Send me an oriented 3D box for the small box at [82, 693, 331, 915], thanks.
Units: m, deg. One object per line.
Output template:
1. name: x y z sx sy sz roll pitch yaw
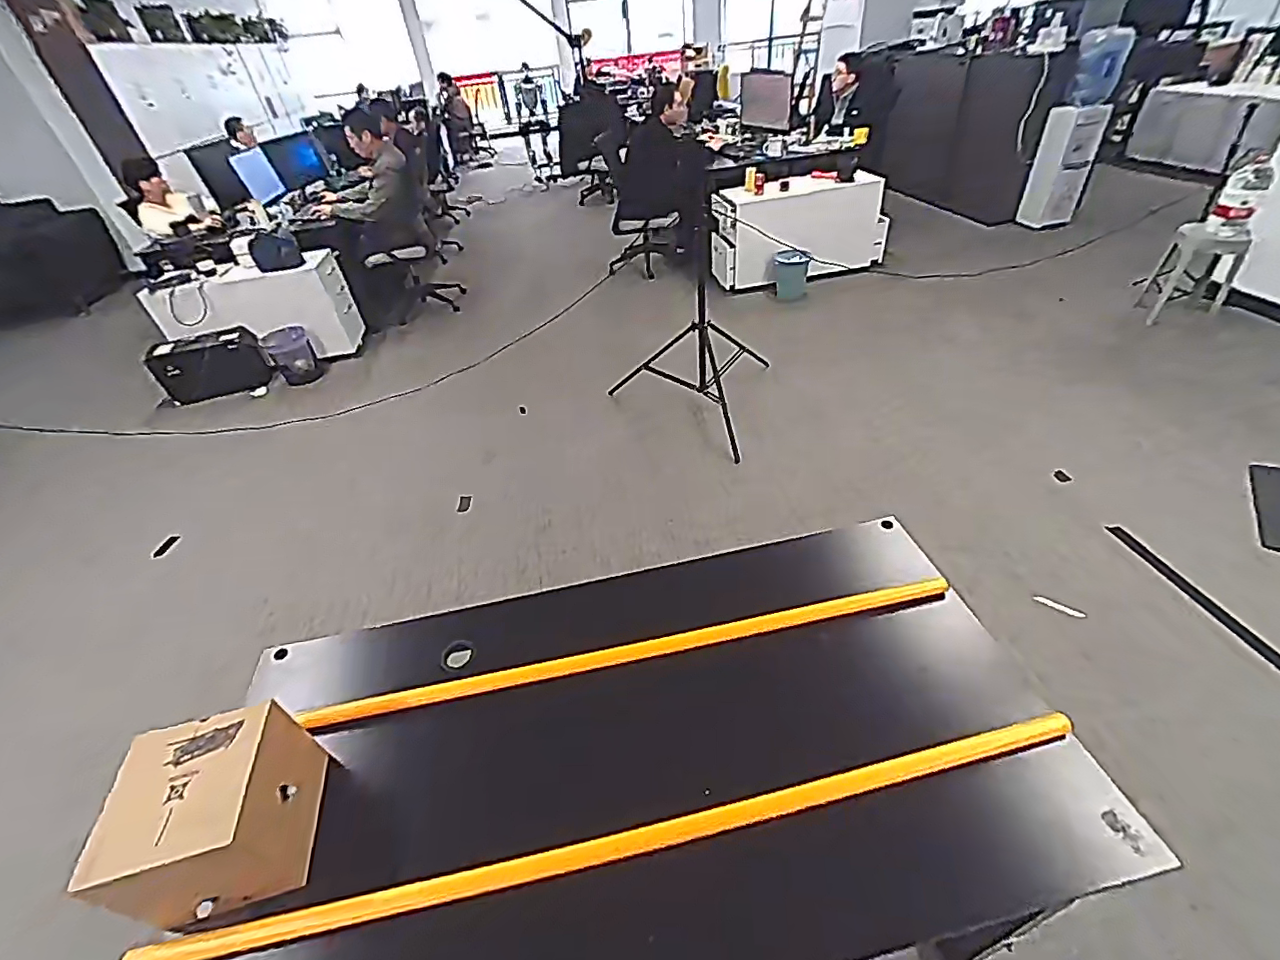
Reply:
1. small box: -0.526 0.413 0.696 0.168 0.176 0.179 -13 41 -8
